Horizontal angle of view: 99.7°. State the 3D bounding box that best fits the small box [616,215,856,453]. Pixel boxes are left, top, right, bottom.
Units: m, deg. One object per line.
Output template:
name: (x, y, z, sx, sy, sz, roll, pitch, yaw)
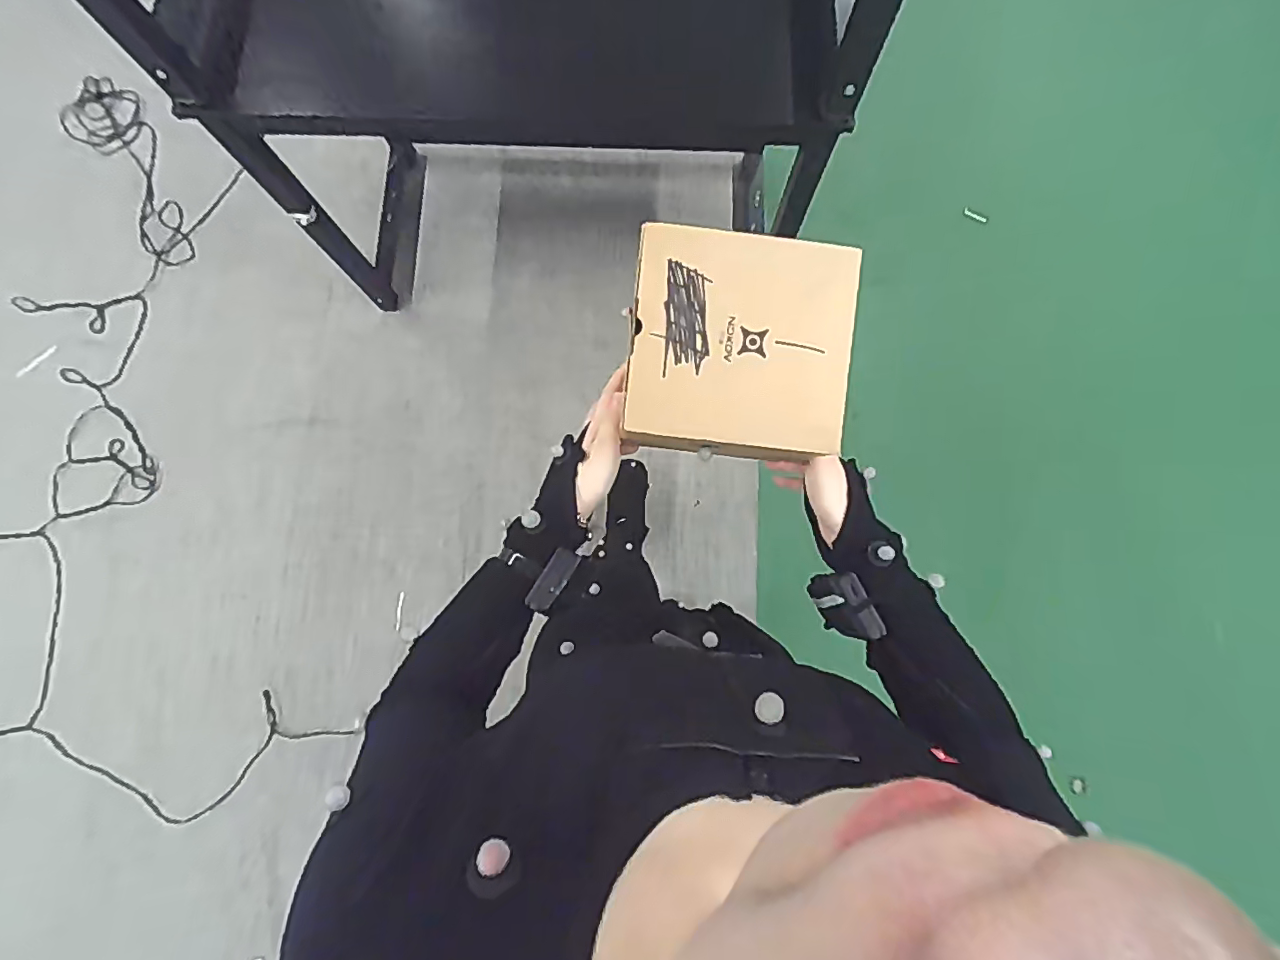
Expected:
small box: (0.073, -0.117, 0.503, 0.179, 0.176, 0.168, 6, 90, -2)
